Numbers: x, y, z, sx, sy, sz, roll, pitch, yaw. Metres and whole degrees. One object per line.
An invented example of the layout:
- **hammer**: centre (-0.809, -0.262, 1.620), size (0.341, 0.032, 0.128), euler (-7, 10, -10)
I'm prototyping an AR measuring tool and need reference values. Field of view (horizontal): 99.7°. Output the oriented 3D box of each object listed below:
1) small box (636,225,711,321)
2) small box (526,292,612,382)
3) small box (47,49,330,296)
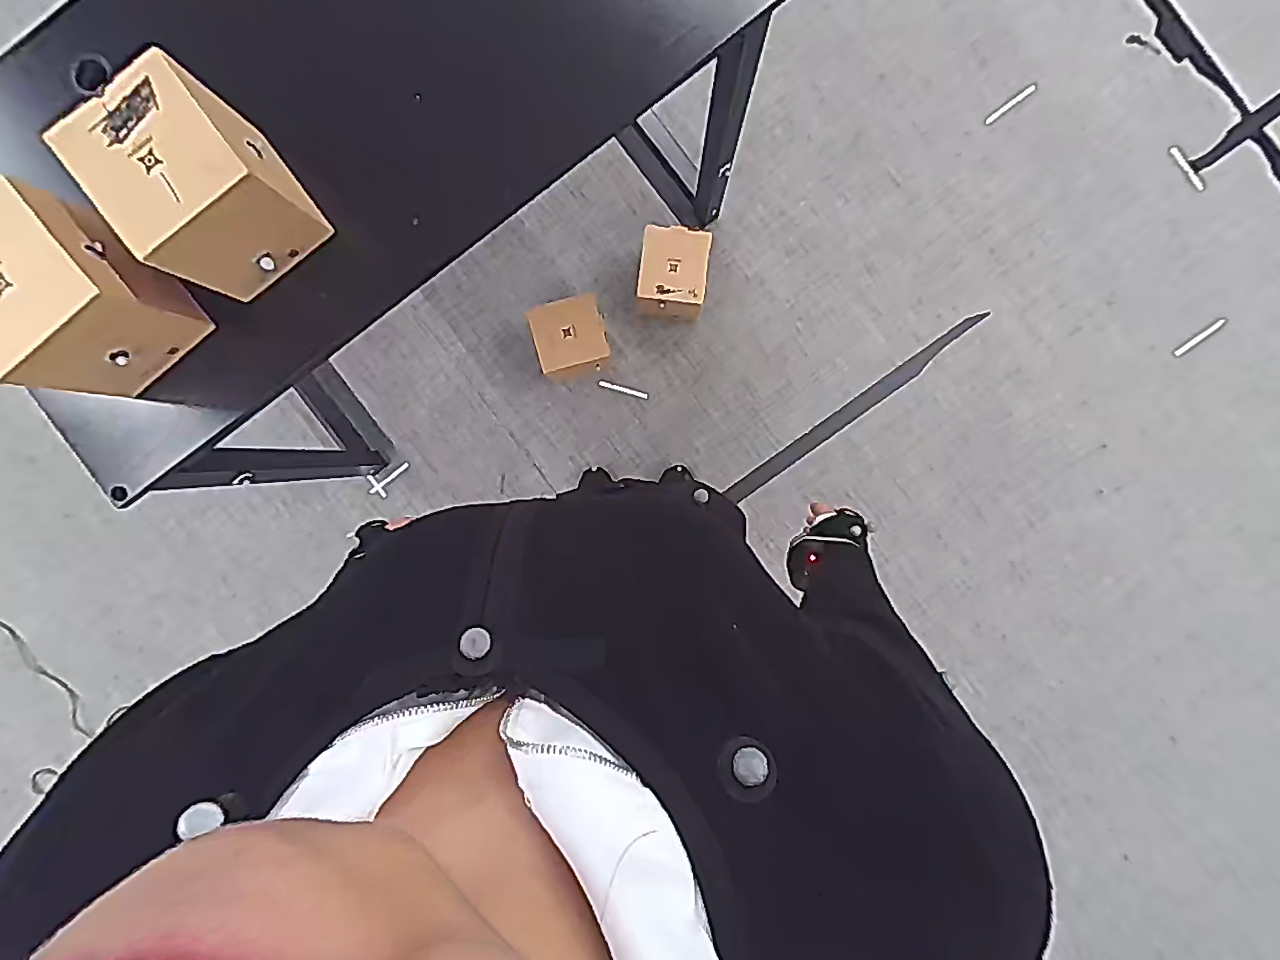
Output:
- **small box**: centre (0.081, -0.526, 1.391), size (0.168, 0.176, 0.179), euler (7, 93, 1)
- **small box**: centre (-0.175, -0.365, 1.406), size (0.179, 0.176, 0.168), euler (-15, 92, 3)
- **small box**: centre (-0.546, -0.366, 0.682), size (0.168, 0.176, 0.179), euler (-37, 92, 3)
